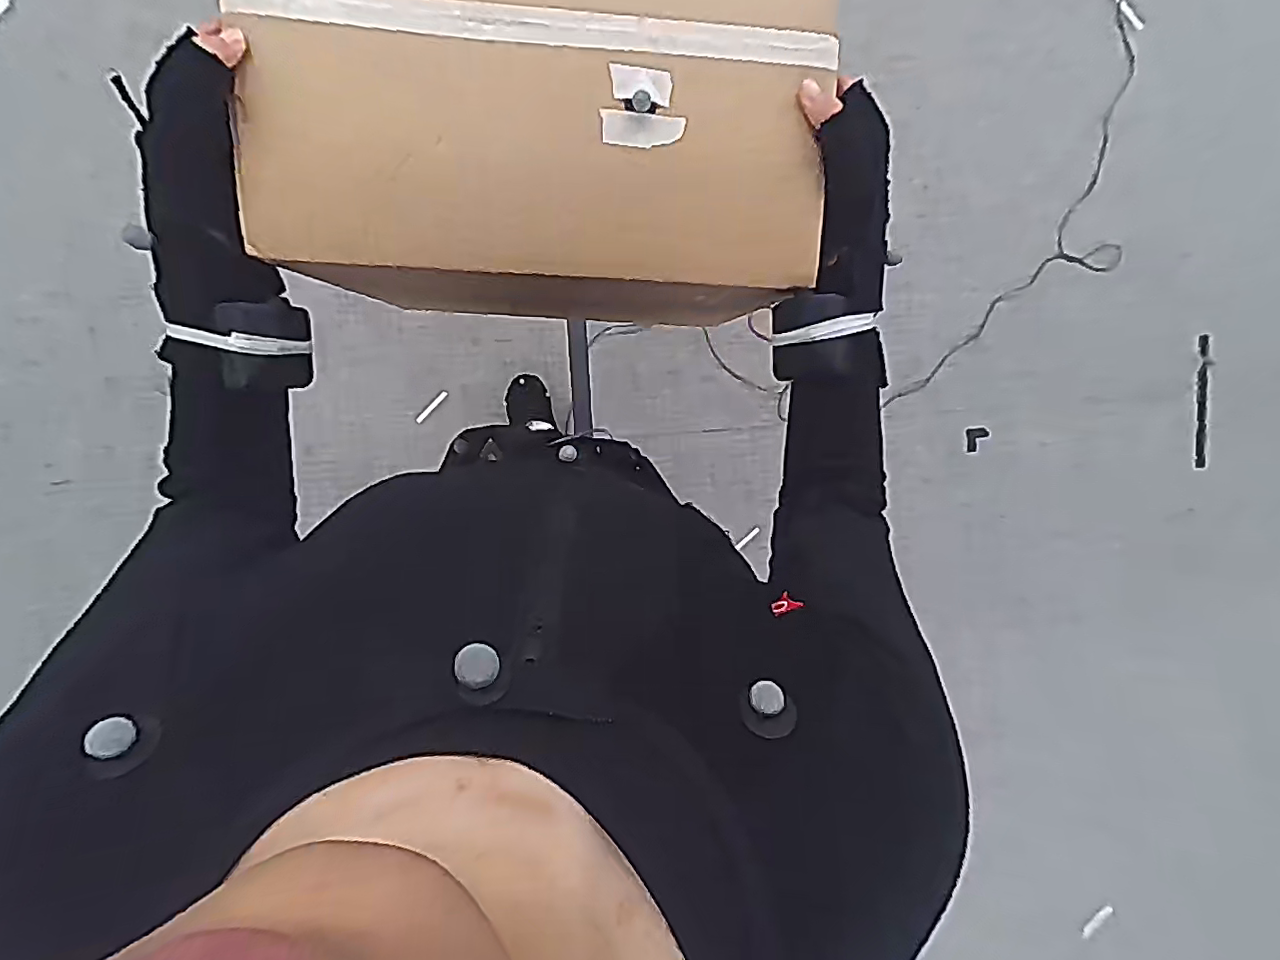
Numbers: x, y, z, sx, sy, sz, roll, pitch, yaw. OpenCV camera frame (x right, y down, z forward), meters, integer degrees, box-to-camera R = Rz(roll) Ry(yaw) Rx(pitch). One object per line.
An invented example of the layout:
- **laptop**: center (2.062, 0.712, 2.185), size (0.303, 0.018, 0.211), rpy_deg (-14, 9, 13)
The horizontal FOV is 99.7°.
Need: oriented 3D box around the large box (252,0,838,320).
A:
- **large box**: center (-0.074, -0.332, 0.518), size (0.408, 0.320, 0.320), rpy_deg (1, 102, -6)
